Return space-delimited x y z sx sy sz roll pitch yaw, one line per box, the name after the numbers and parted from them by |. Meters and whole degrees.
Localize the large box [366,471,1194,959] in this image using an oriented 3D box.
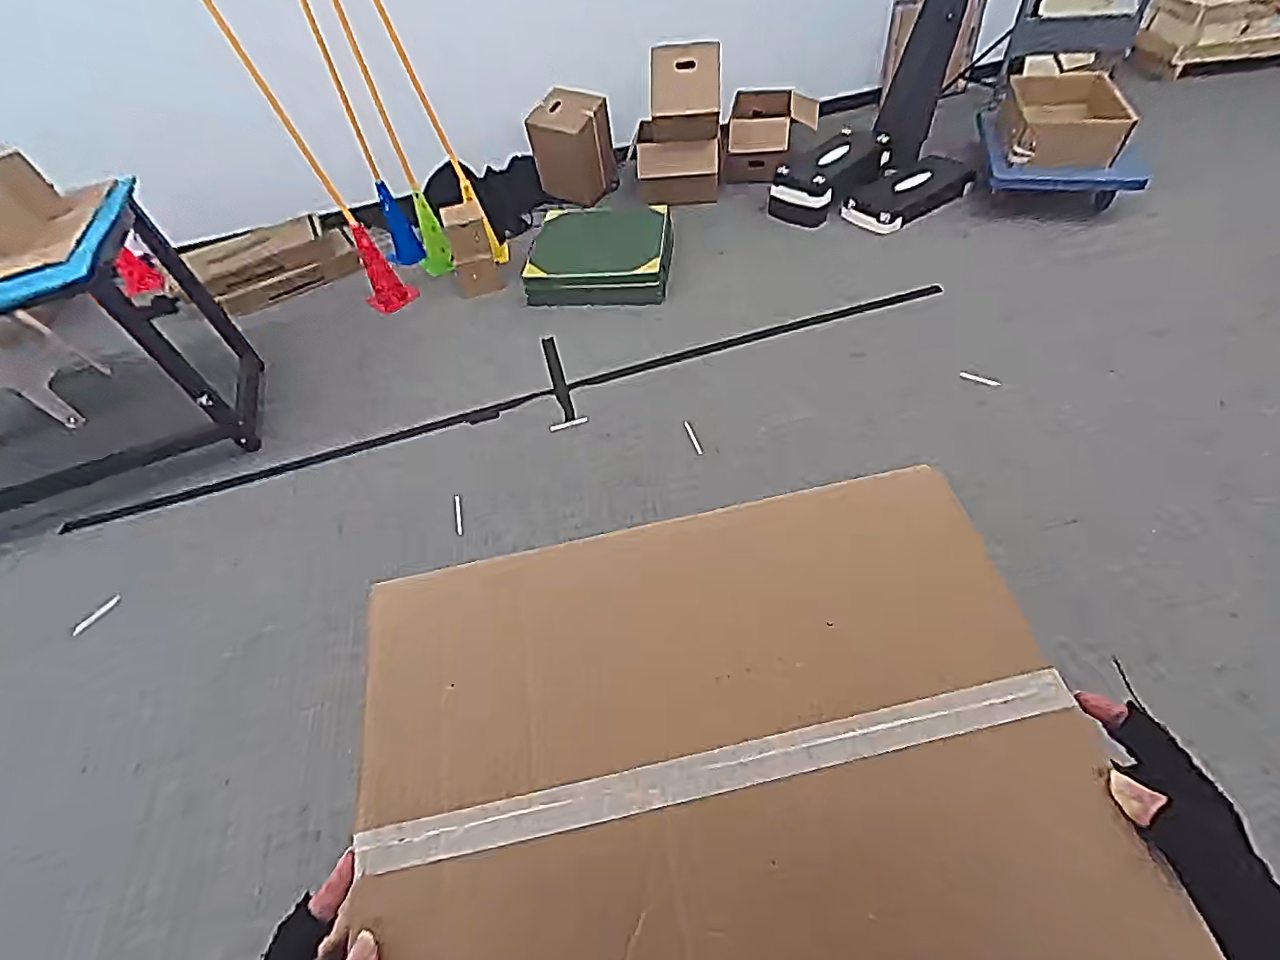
0.056 0.237 0.441 0.408 0.320 0.320 -13 59 -2 | large box
